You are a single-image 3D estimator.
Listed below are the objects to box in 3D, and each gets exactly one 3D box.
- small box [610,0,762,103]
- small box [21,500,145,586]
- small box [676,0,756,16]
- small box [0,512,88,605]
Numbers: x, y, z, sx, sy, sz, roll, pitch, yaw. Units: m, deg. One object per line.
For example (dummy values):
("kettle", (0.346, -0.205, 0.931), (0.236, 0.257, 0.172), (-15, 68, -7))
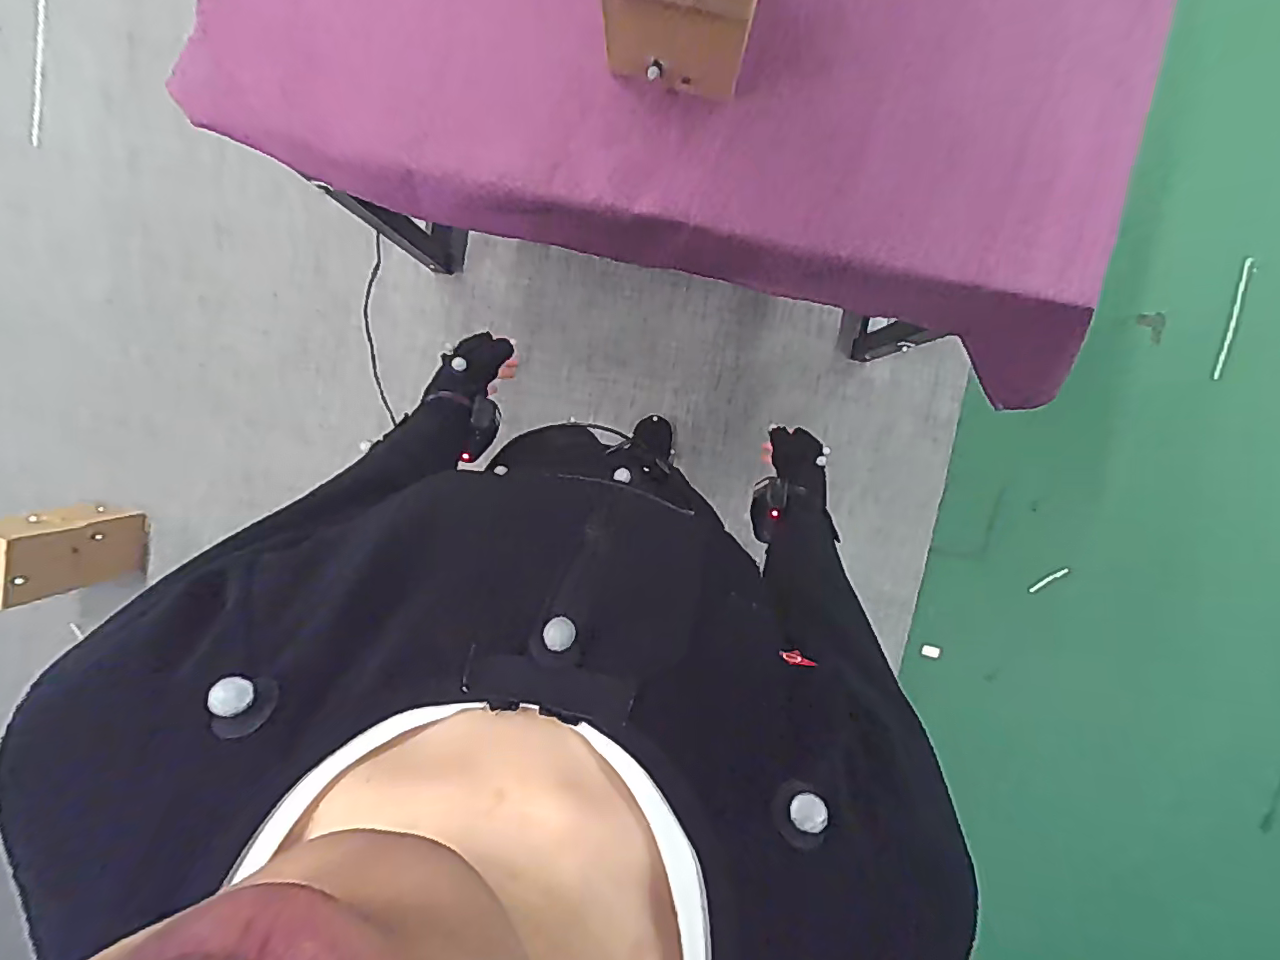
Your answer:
("small box", (0.062, -0.582, 0.612), (0.168, 0.176, 0.179), (15, 95, 0))
("small box", (-1.461, 0.160, 1.423), (0.168, 0.176, 0.179), (10, 95, 0))
("small box", (0.051, -0.555, 0.450), (0.168, 0.176, 0.179), (14, 95, 1))
("small box", (-1.462, 0.175, 1.259), (0.179, 0.176, 0.168), (10, 95, 1))
